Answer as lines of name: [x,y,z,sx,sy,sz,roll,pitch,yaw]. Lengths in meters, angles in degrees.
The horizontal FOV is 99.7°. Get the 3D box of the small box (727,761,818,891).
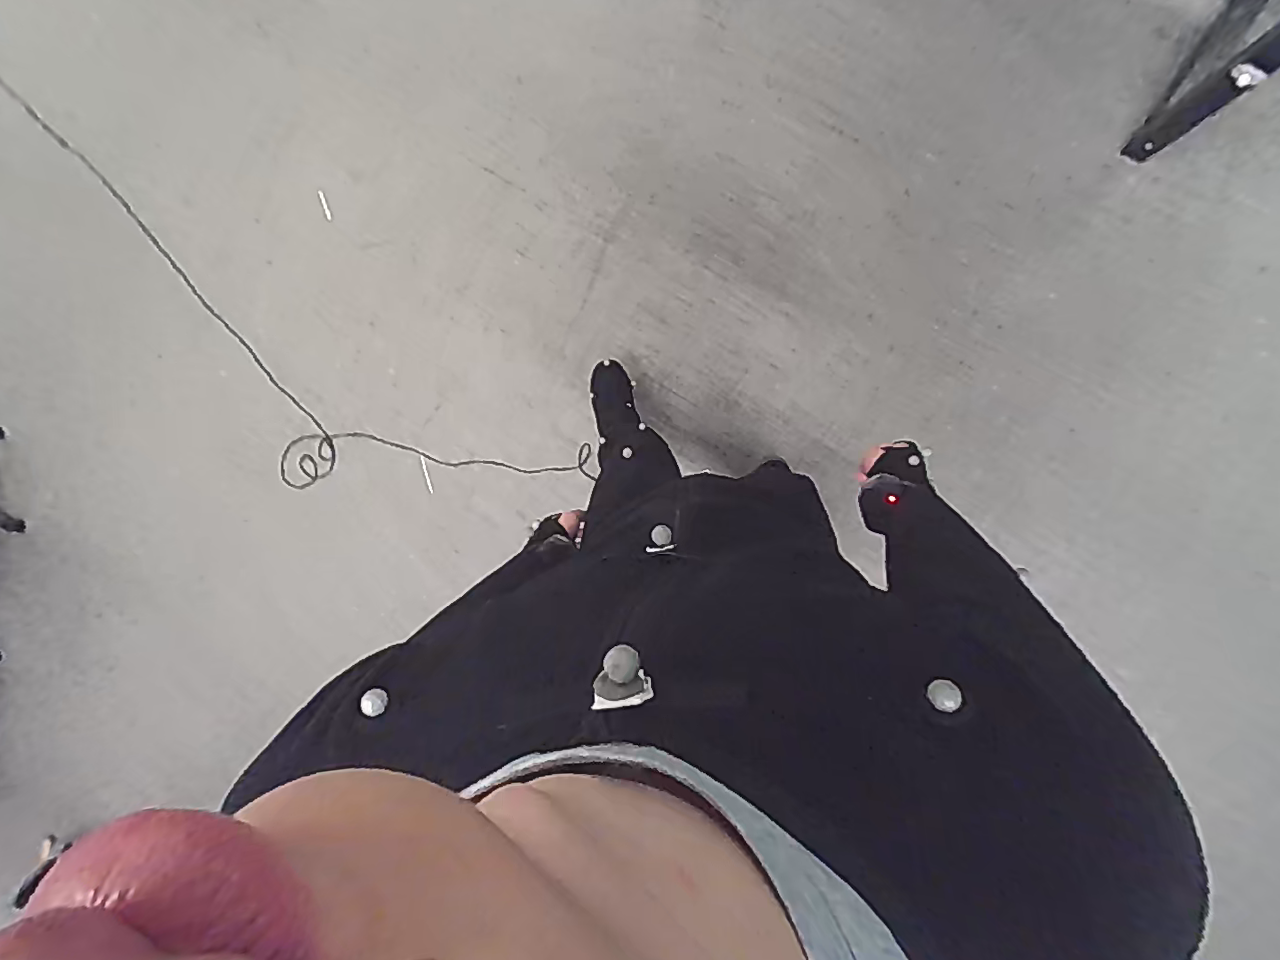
small box: [0.330,0.854,1.351,0.168,0.176,0.179,21,100,10]
